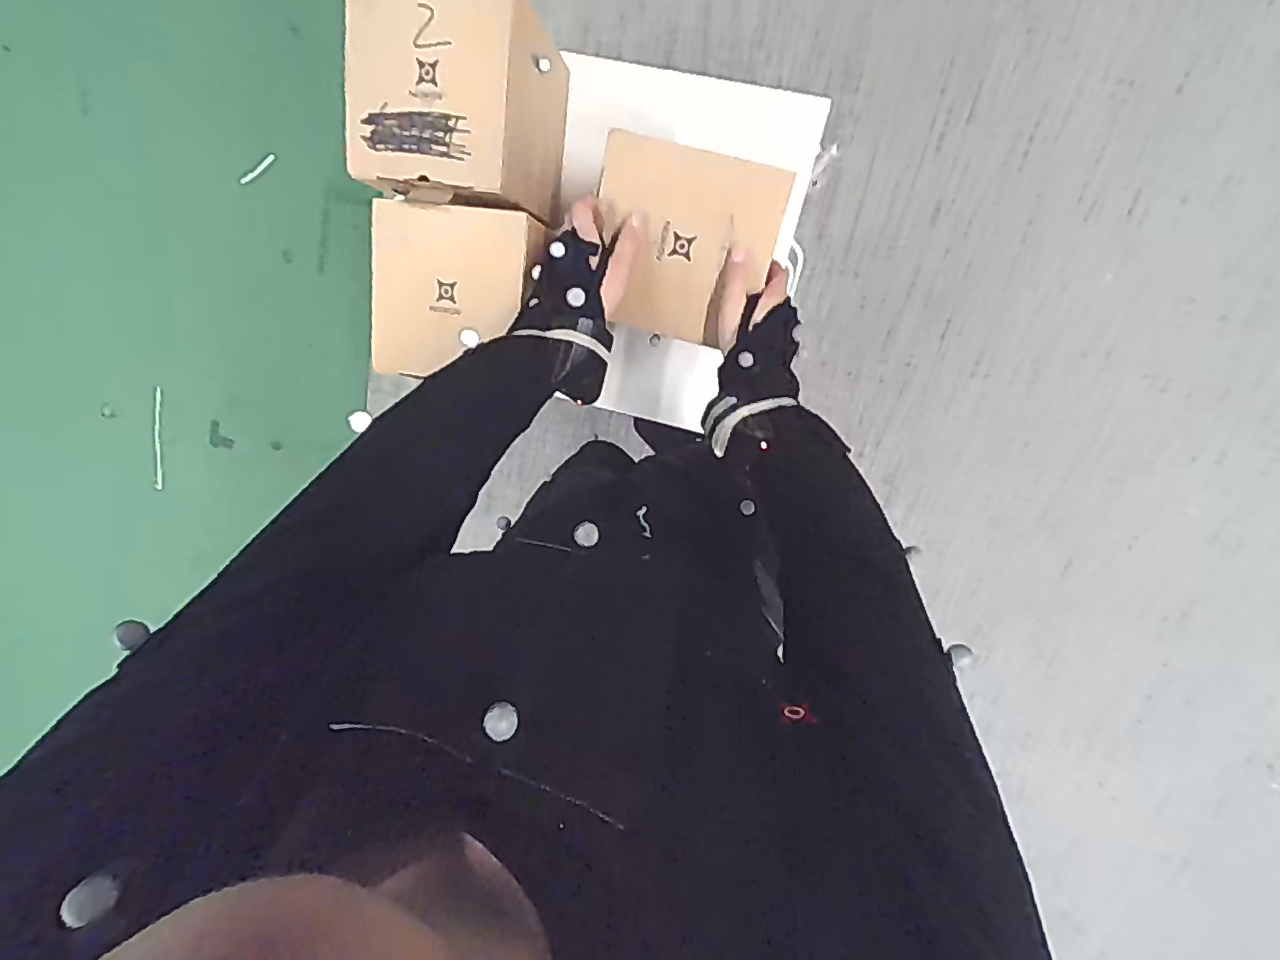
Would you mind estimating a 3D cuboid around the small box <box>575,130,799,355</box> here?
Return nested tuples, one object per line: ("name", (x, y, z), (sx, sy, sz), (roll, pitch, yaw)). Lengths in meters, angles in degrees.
("small box", (0.050, -0.238, 0.577), (0.179, 0.176, 0.168), (16, 109, 4))
